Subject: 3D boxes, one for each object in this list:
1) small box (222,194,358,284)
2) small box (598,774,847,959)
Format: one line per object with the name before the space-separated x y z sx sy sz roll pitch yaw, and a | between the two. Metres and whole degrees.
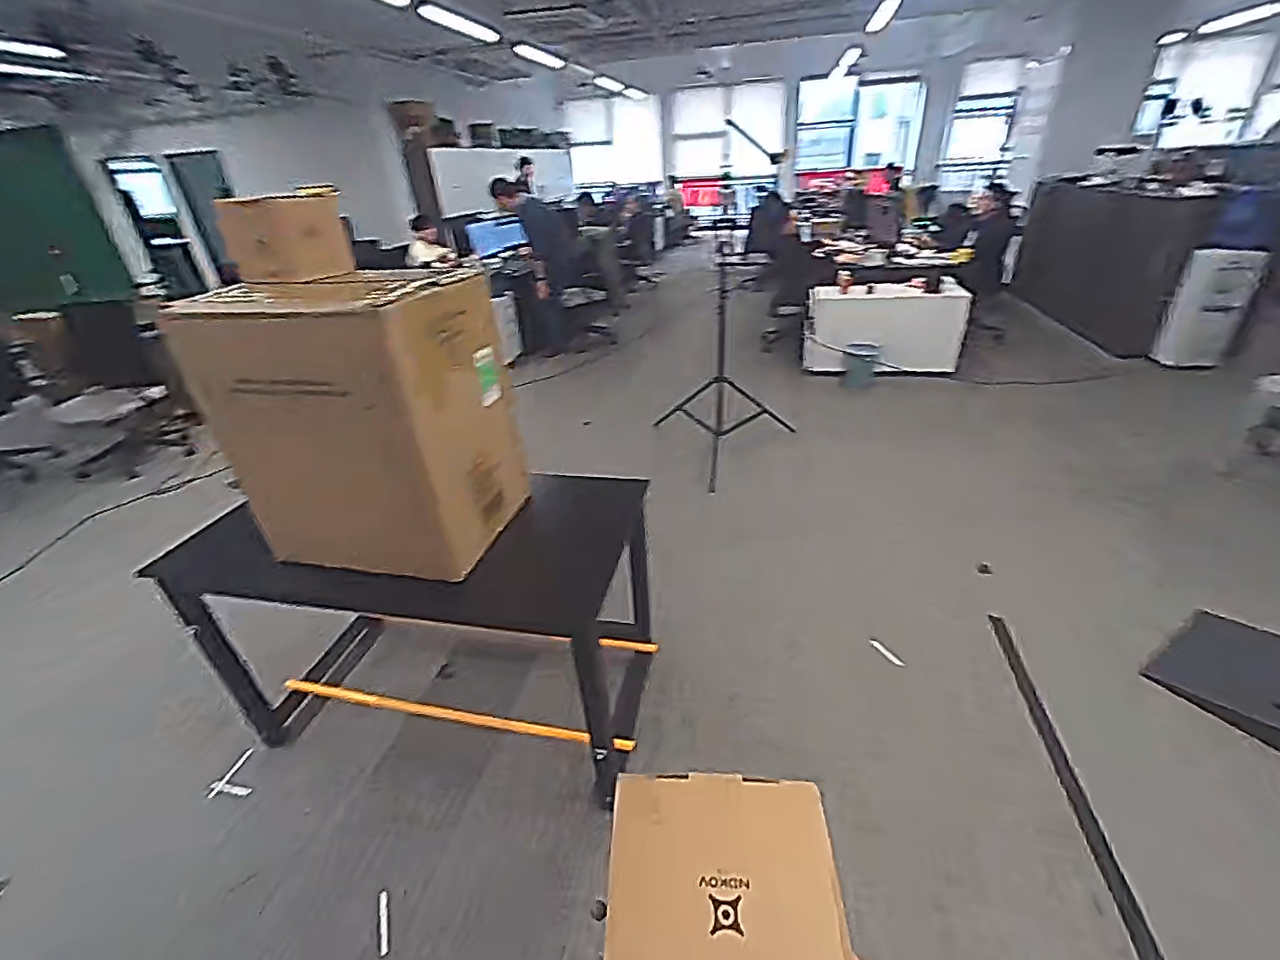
small box | -0.777 -0.545 1.225 0.168 0.176 0.179 5 30 12
small box | 0.054 0.360 0.422 0.168 0.176 0.179 1 38 1
